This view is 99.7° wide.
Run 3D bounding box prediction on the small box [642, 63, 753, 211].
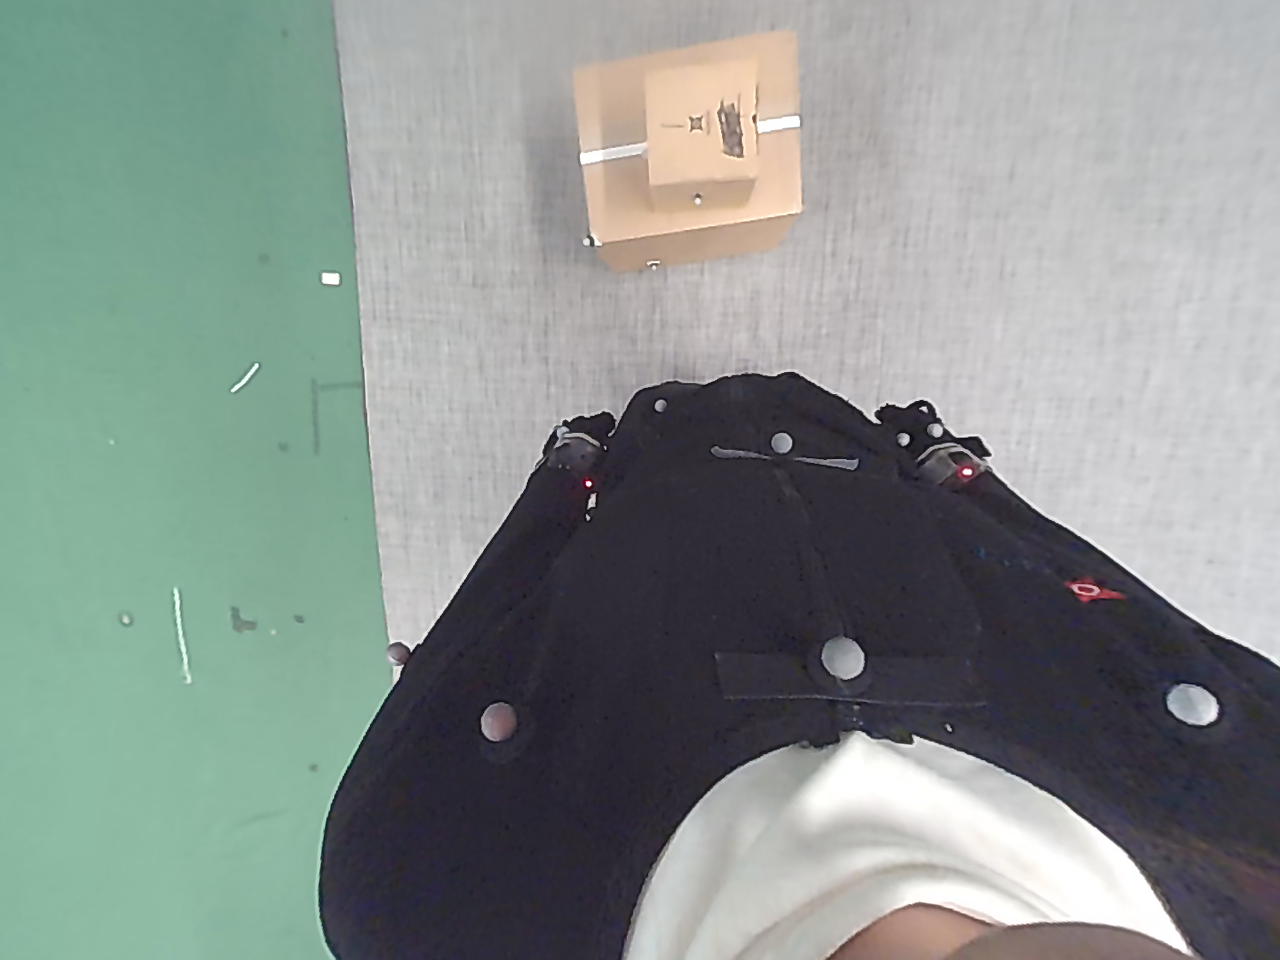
[{"bbox_3d":[0.098,-0.579,0.934,0.179,0.176,0.168,-2,101,6],"label":"small box"}]
